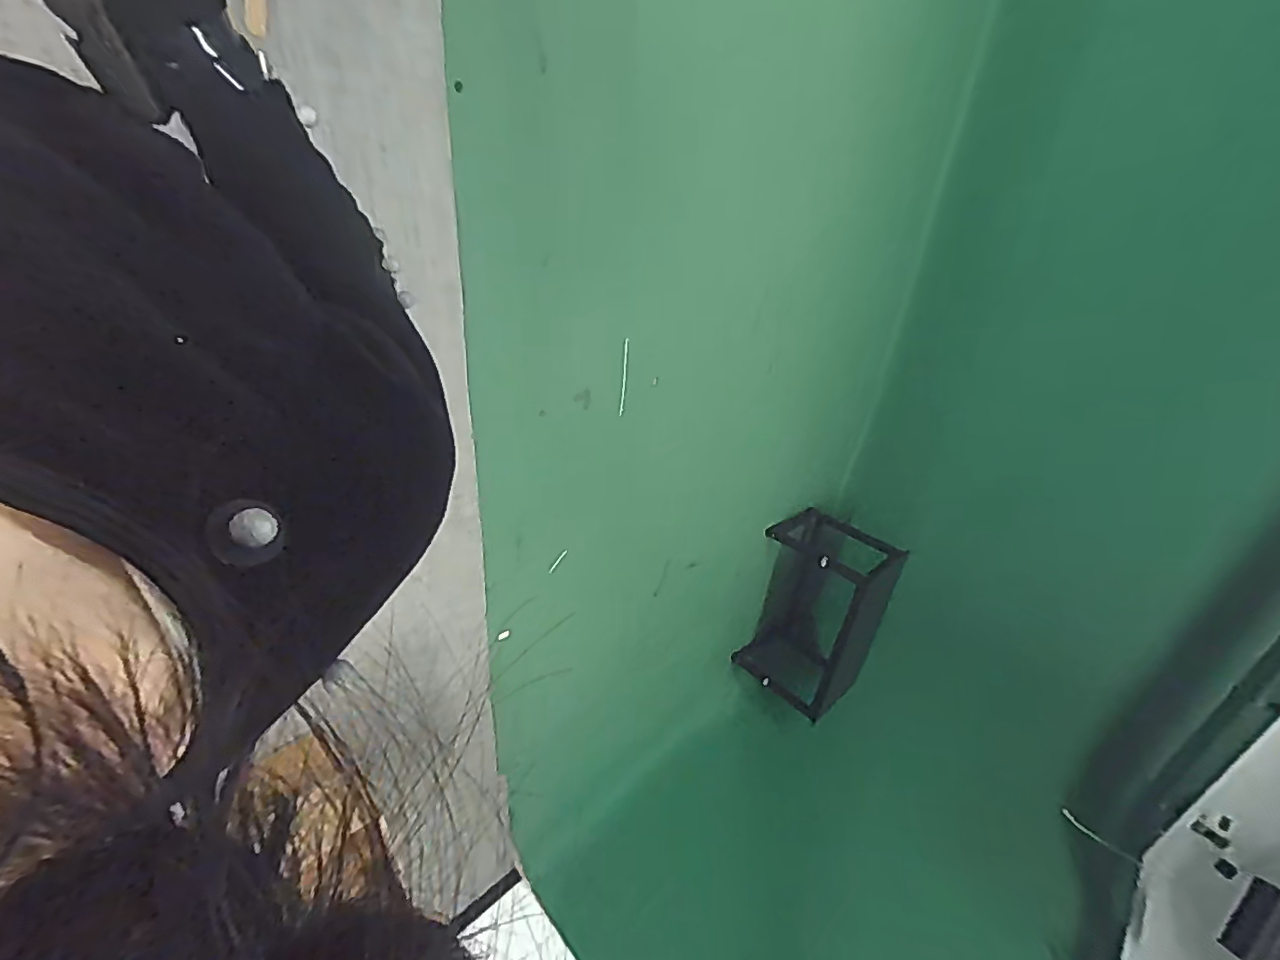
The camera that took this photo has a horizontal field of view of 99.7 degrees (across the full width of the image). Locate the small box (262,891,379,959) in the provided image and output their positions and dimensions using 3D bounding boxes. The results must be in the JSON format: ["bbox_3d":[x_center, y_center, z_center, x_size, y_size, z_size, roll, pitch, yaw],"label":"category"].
[{"bbox_3d":[-0.767,1.141,1.299,0.168,0.176,0.179,-34,136,-29],"label":"small box"}]

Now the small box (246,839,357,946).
[{"bbox_3d":[-0.878,1.078,1.401,0.168,0.176,0.179,-34,136,-29],"label":"small box"}]
